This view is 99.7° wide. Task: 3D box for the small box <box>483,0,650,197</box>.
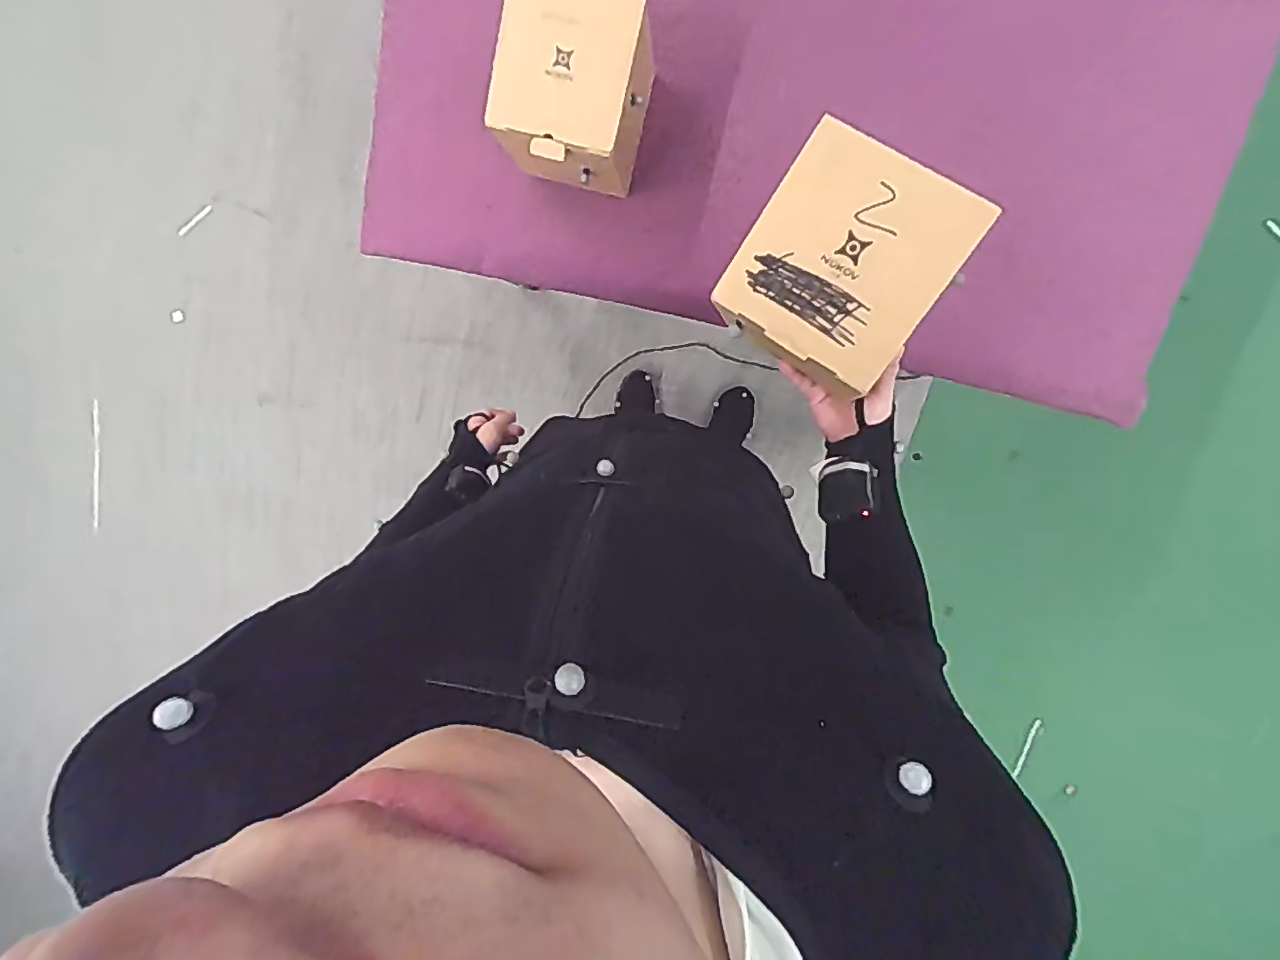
[{"bbox_3d":[-0.087,-0.509,0.723,0.168,0.176,0.179,16,101,1],"label":"small box"}]
